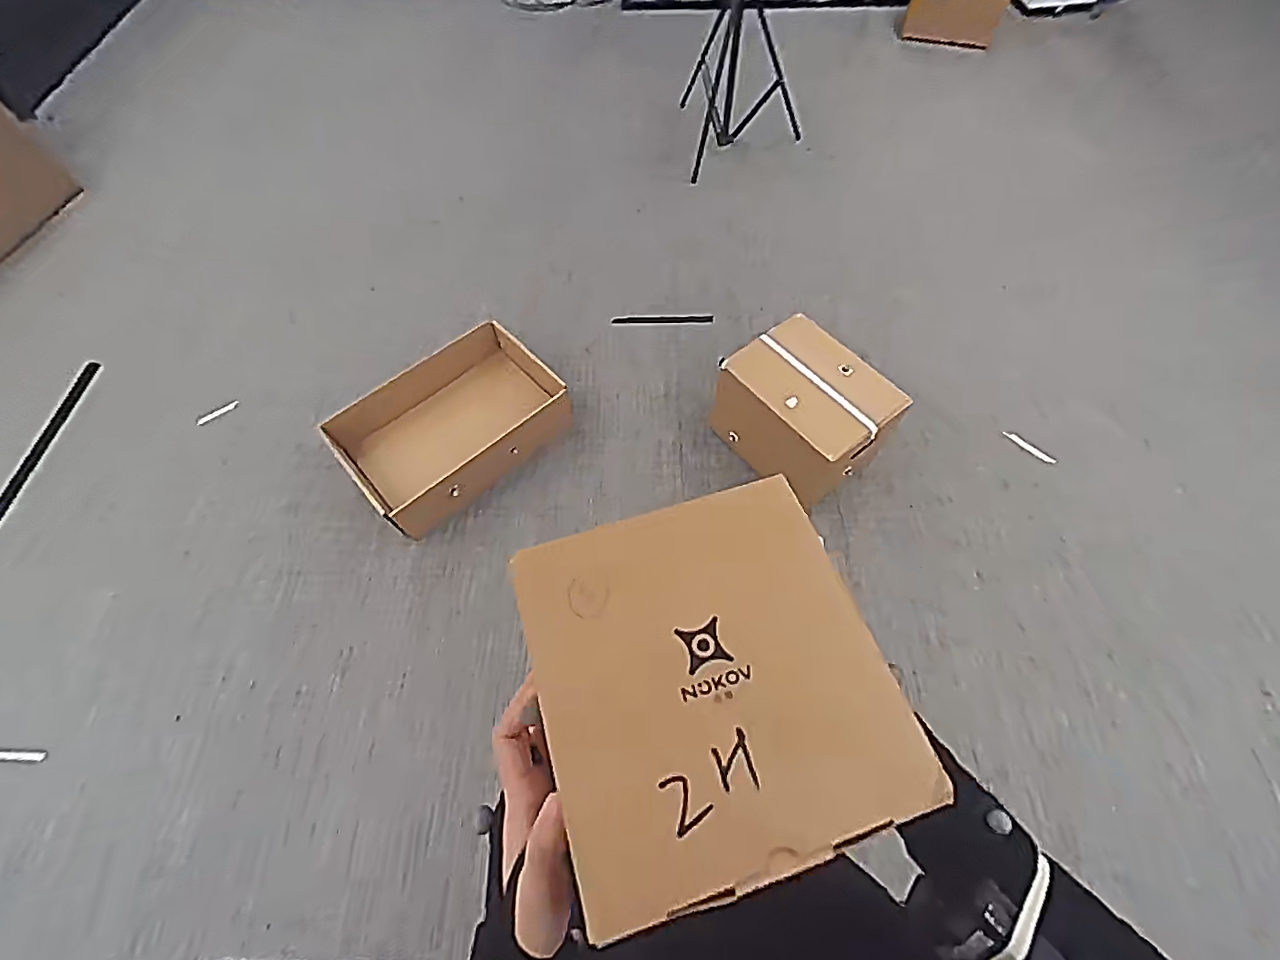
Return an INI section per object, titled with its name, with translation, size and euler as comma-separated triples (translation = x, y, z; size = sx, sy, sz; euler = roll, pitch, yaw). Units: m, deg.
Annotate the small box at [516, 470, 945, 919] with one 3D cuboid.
[small box]
translation = 0.033, 0.125, 0.335
size = 0.168, 0.176, 0.179
euler = -16, 61, -8
